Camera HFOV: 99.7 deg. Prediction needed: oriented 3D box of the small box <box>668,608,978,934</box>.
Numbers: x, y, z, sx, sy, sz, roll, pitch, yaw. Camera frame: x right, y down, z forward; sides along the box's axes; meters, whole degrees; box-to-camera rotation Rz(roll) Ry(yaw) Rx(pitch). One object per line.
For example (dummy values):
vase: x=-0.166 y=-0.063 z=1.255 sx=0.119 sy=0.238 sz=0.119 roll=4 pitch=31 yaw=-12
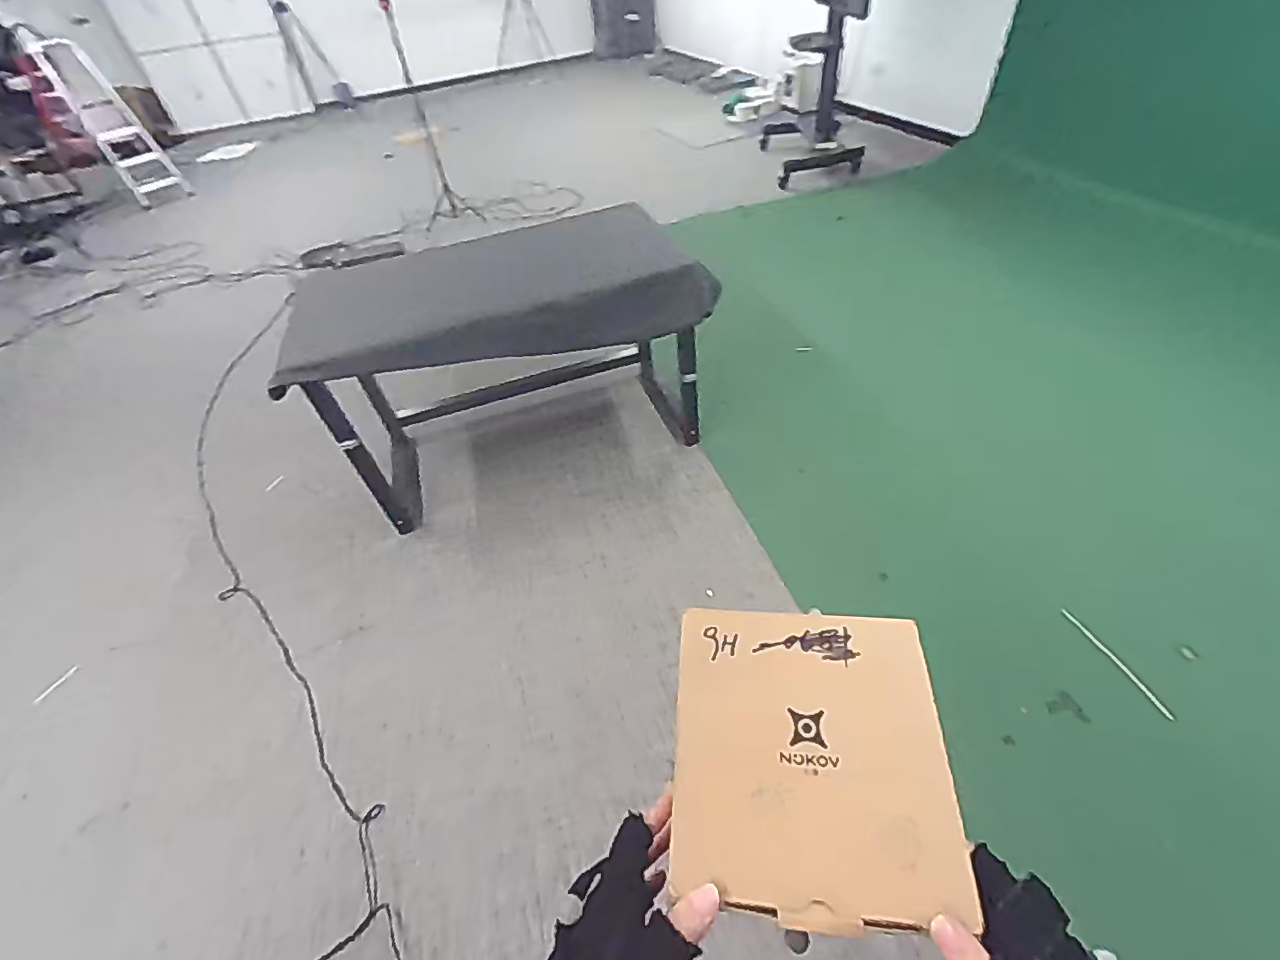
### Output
small box: x=0.114 y=0.212 z=0.404 sx=0.168 sy=0.176 sz=0.179 roll=0 pitch=53 yaw=8
